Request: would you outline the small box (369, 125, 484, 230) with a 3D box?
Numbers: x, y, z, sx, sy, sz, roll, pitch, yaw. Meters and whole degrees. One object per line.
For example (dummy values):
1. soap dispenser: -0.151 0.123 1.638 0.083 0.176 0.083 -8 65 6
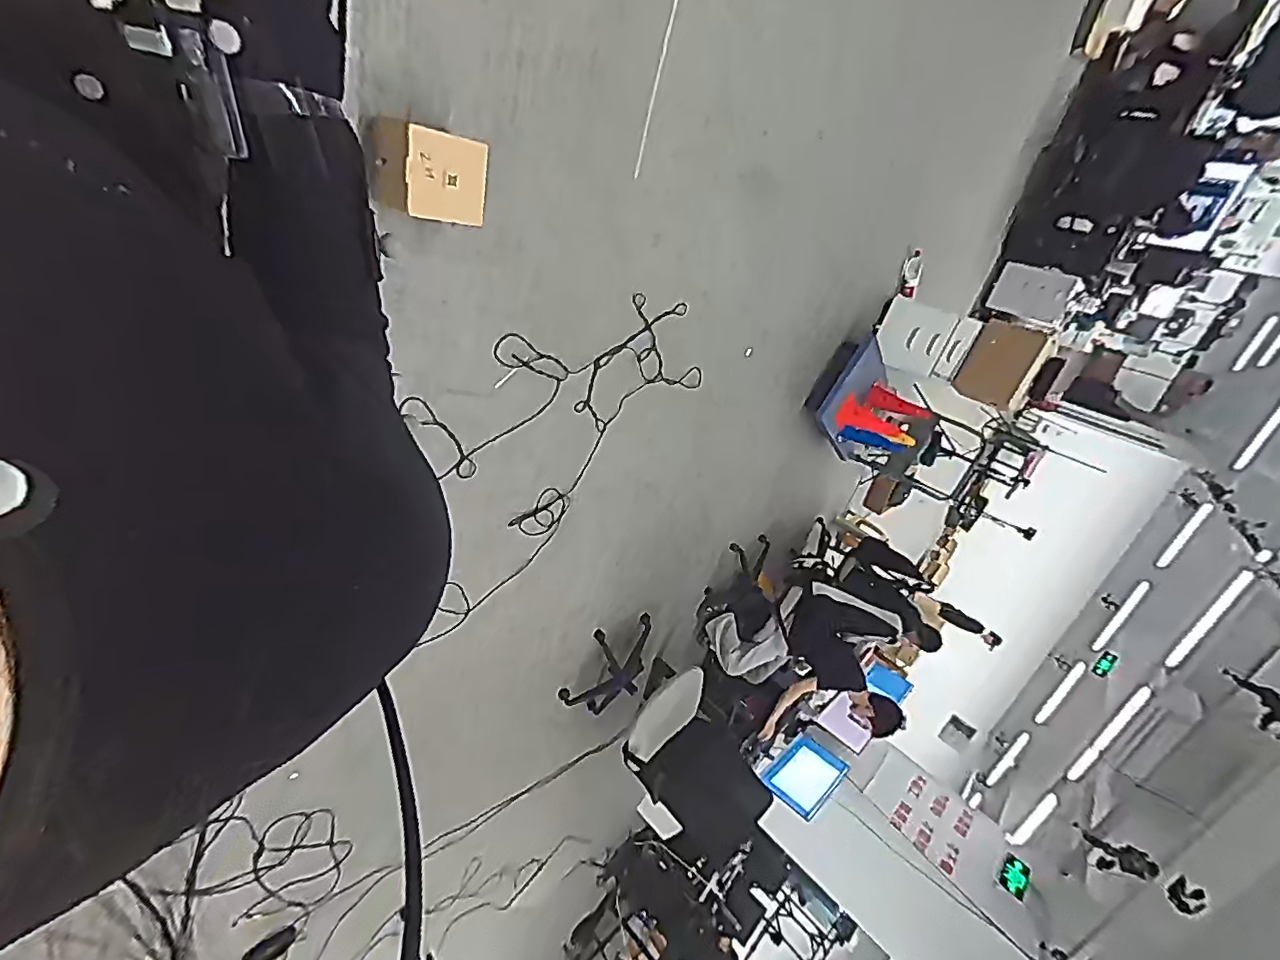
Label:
1. small box: -0.465 -0.656 1.175 0.179 0.176 0.168 -16 128 -44
